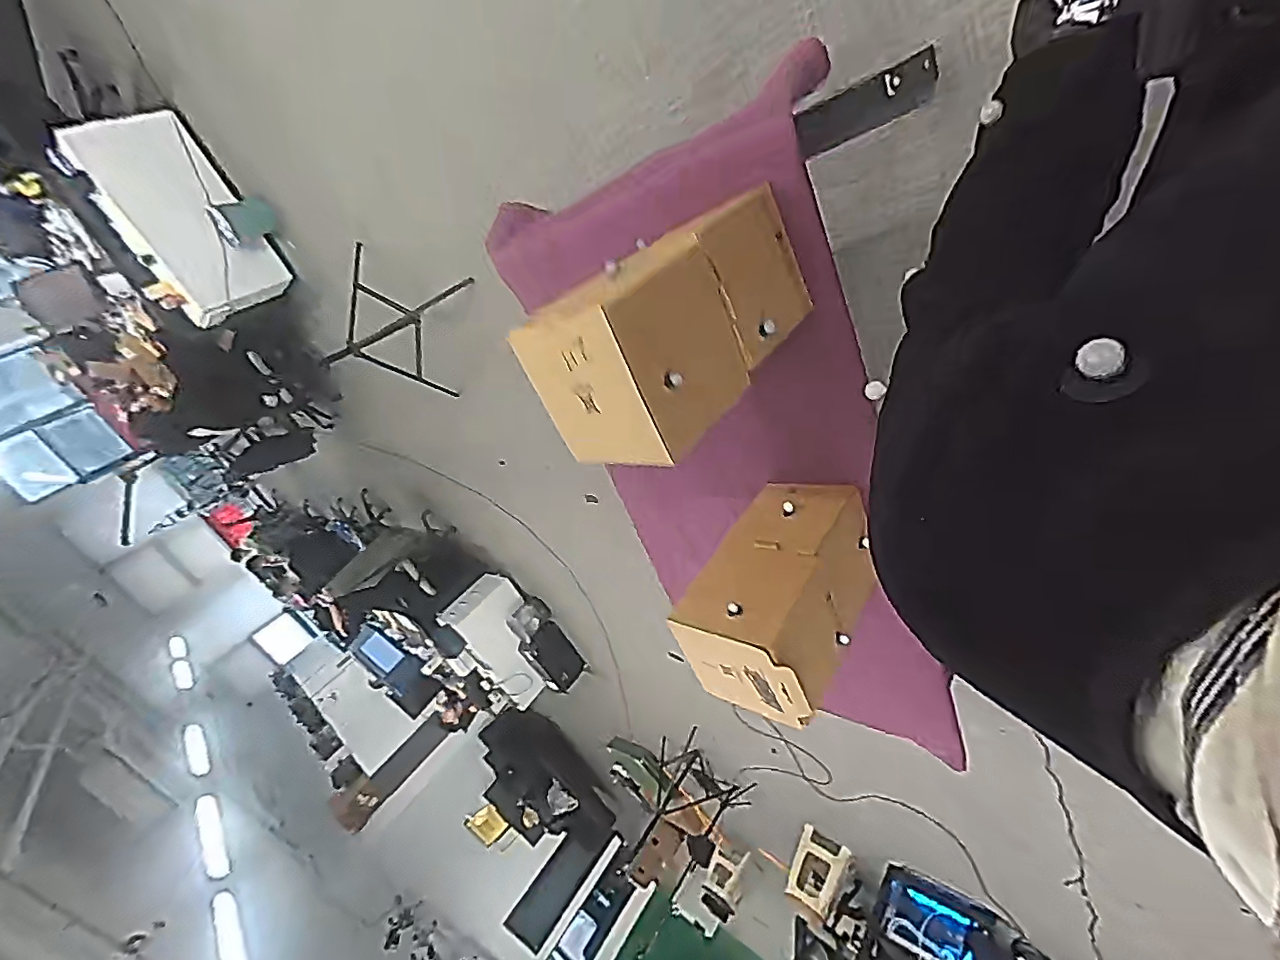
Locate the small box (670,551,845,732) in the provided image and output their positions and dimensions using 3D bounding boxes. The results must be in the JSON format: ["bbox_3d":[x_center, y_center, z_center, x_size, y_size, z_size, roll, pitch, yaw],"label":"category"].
[{"bbox_3d":[0.181,0.223,0.793,0.179,0.176,0.168,3,129,46],"label":"small box"}]

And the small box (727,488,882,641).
[{"bbox_3d":[0.275,0.128,0.890,0.168,0.176,0.179,2,127,46],"label":"small box"}]

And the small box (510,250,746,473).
[{"bbox_3d":[-0.005,-0.129,0.613,0.168,0.176,0.179,4,129,45],"label":"small box"}]
